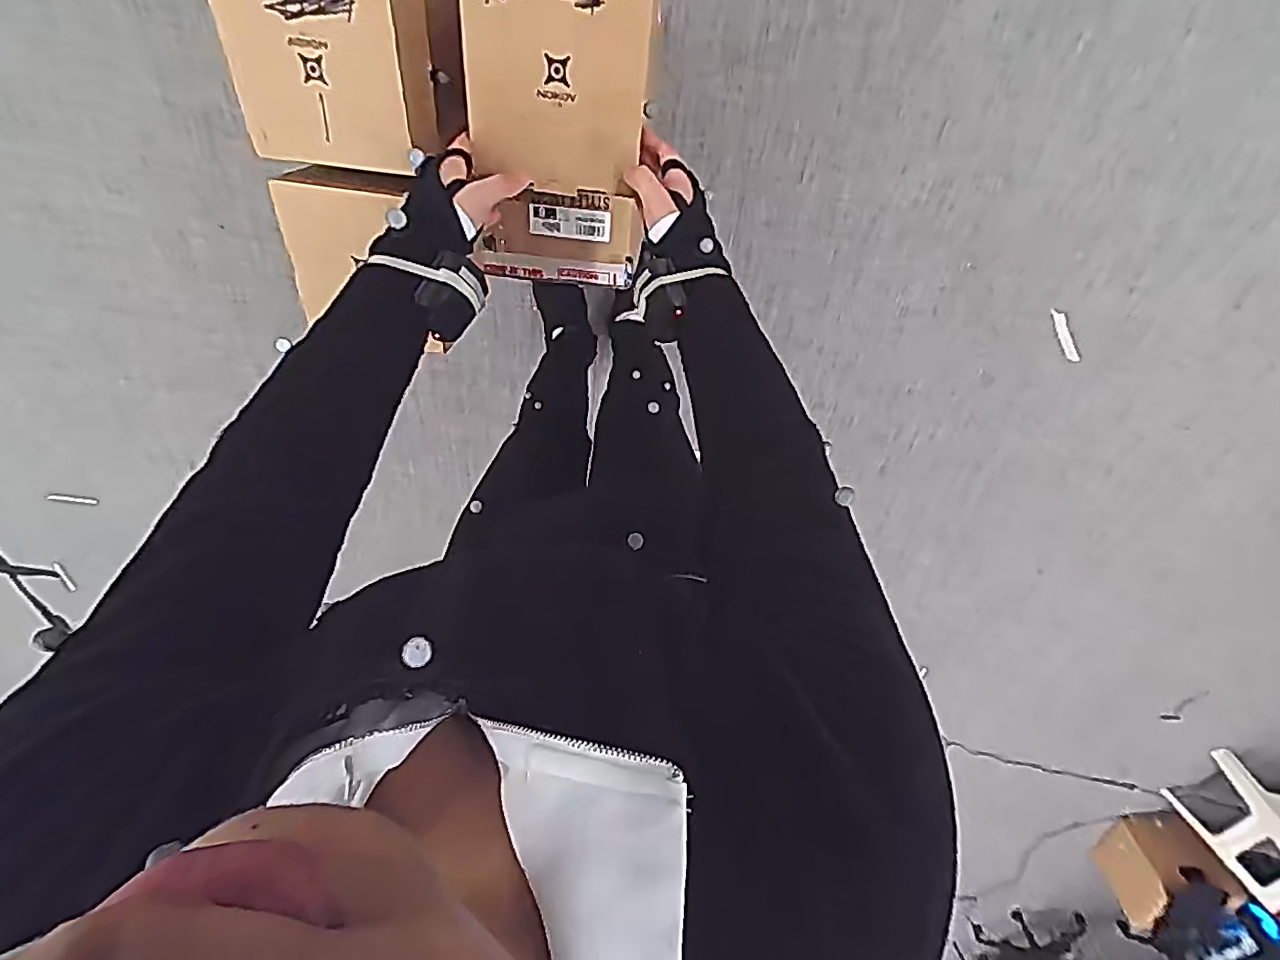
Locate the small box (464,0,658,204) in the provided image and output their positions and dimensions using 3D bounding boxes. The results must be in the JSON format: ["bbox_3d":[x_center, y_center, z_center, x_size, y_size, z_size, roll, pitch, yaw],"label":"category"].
[{"bbox_3d":[-0.072,-0.408,0.556,0.168,0.176,0.179,6,129,-3],"label":"small box"}]
